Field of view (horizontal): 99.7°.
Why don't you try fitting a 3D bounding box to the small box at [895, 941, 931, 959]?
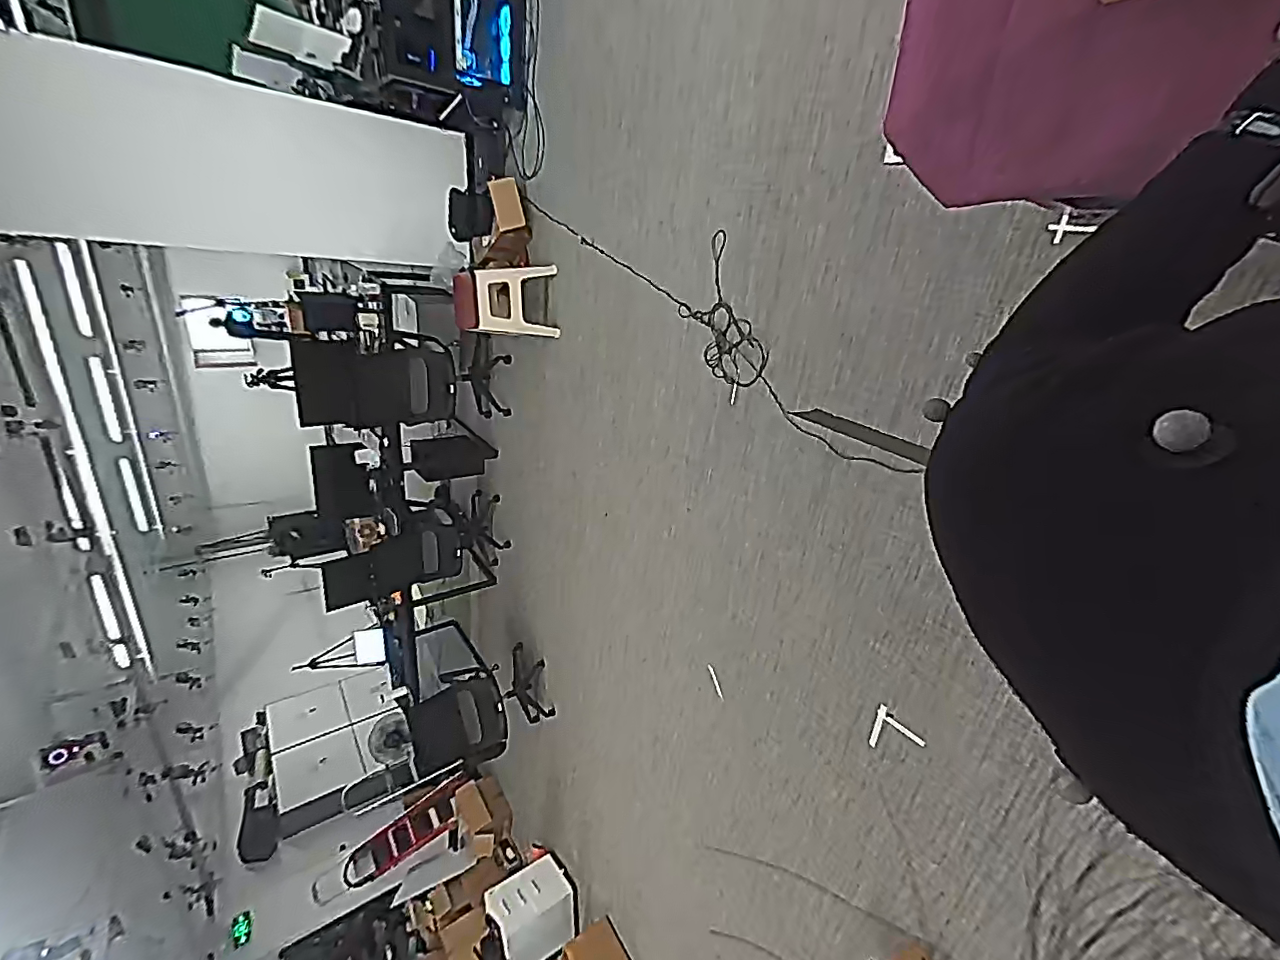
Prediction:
[{"bbox_3d":[0.890,1.665,1.755,0.168,0.176,0.179,36,127,45],"label":"small box"}]
